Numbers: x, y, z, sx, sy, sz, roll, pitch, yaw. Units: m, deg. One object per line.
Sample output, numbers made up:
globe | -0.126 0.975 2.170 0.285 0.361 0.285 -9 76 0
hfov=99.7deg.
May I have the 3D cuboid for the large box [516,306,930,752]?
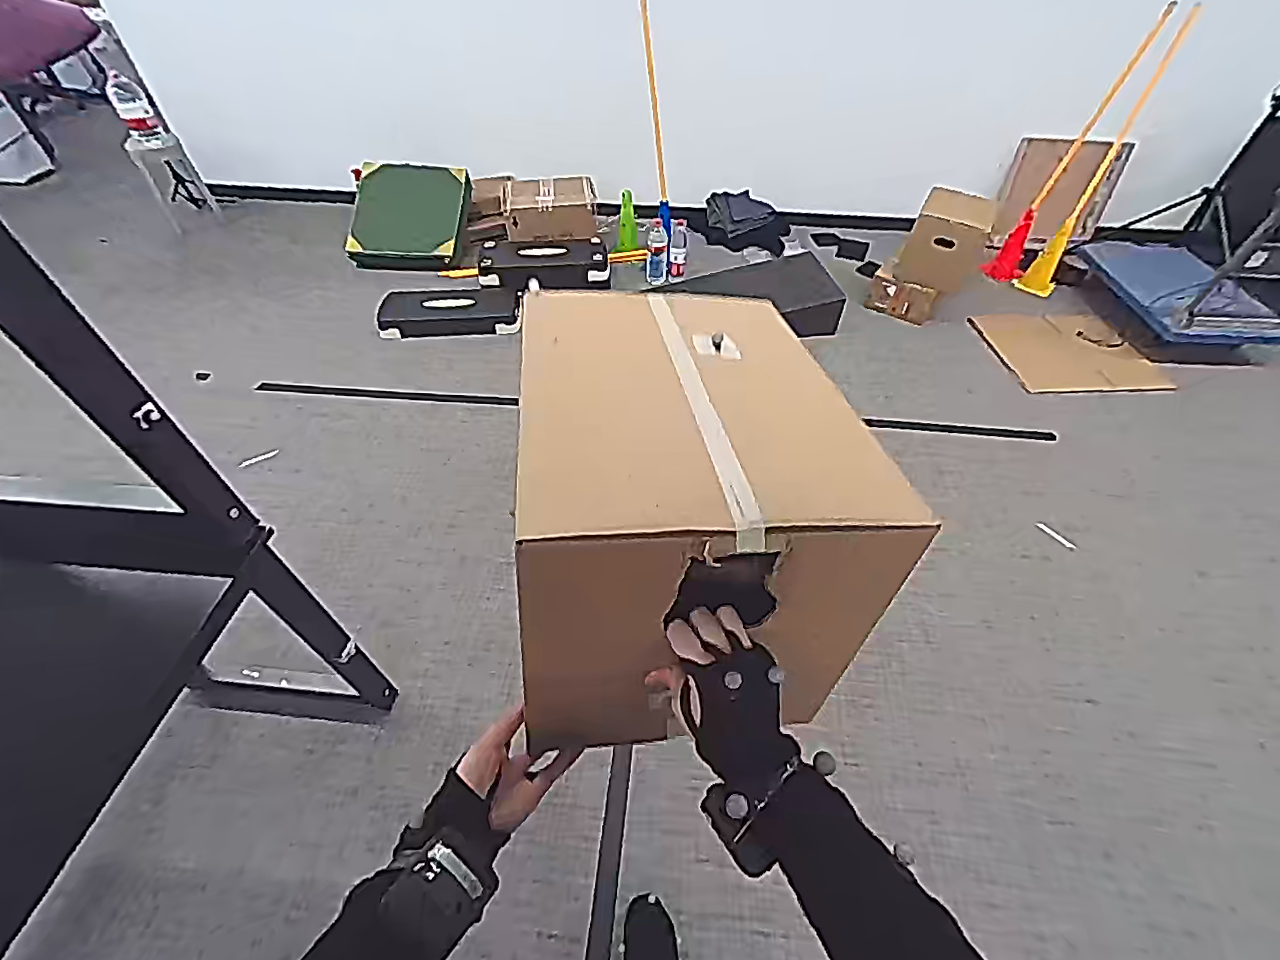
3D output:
large box | 0.028 0.030 0.620 0.320 0.320 0.408 0 38 -10
